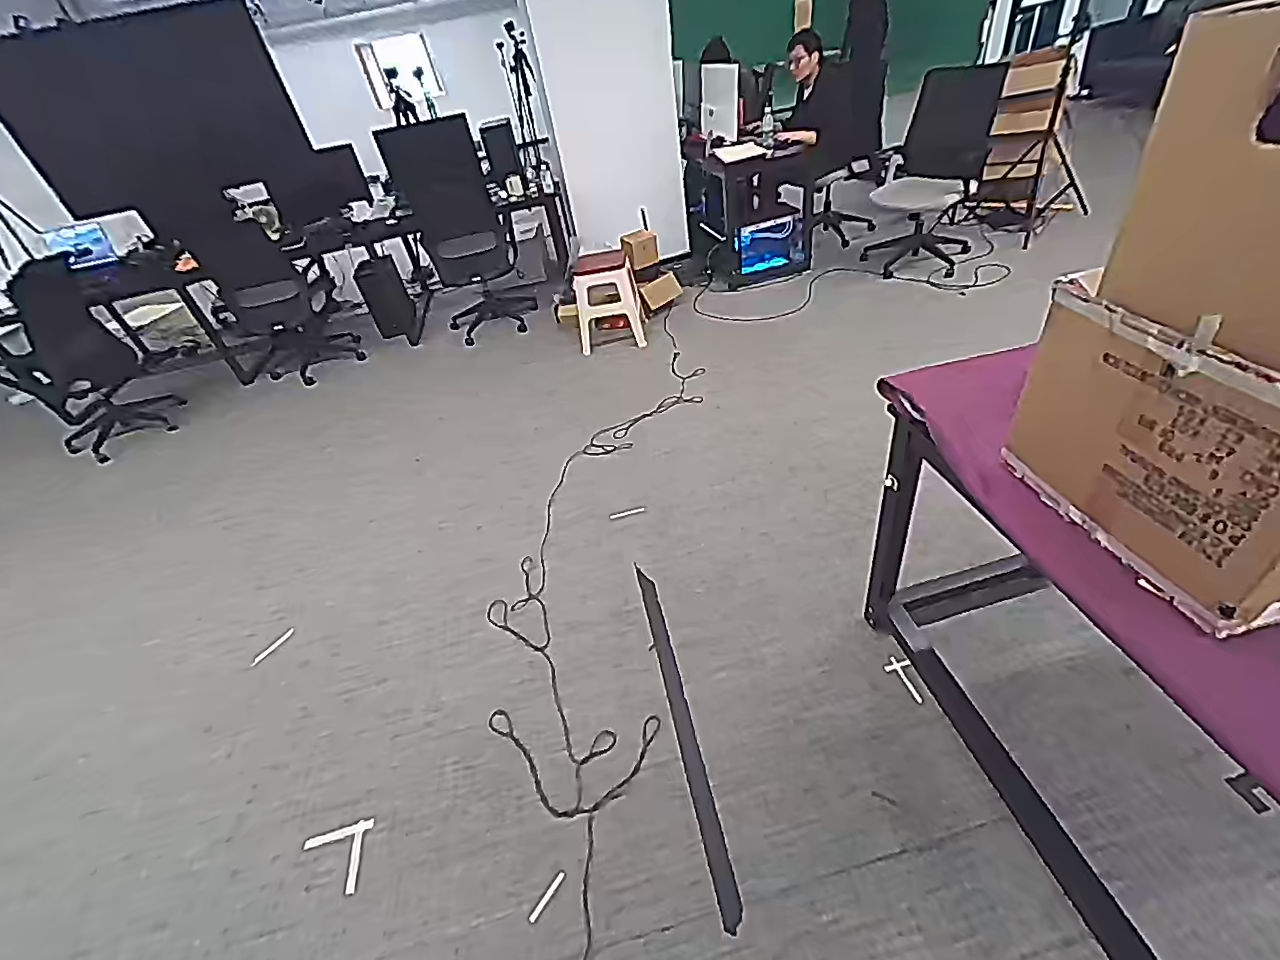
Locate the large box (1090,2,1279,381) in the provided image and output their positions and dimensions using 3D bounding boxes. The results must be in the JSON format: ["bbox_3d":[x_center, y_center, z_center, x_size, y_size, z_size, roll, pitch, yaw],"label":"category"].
[{"bbox_3d":[0.799,-0.317,0.539,0.408,0.320,0.320,-14,35,-2],"label":"large box"}]
